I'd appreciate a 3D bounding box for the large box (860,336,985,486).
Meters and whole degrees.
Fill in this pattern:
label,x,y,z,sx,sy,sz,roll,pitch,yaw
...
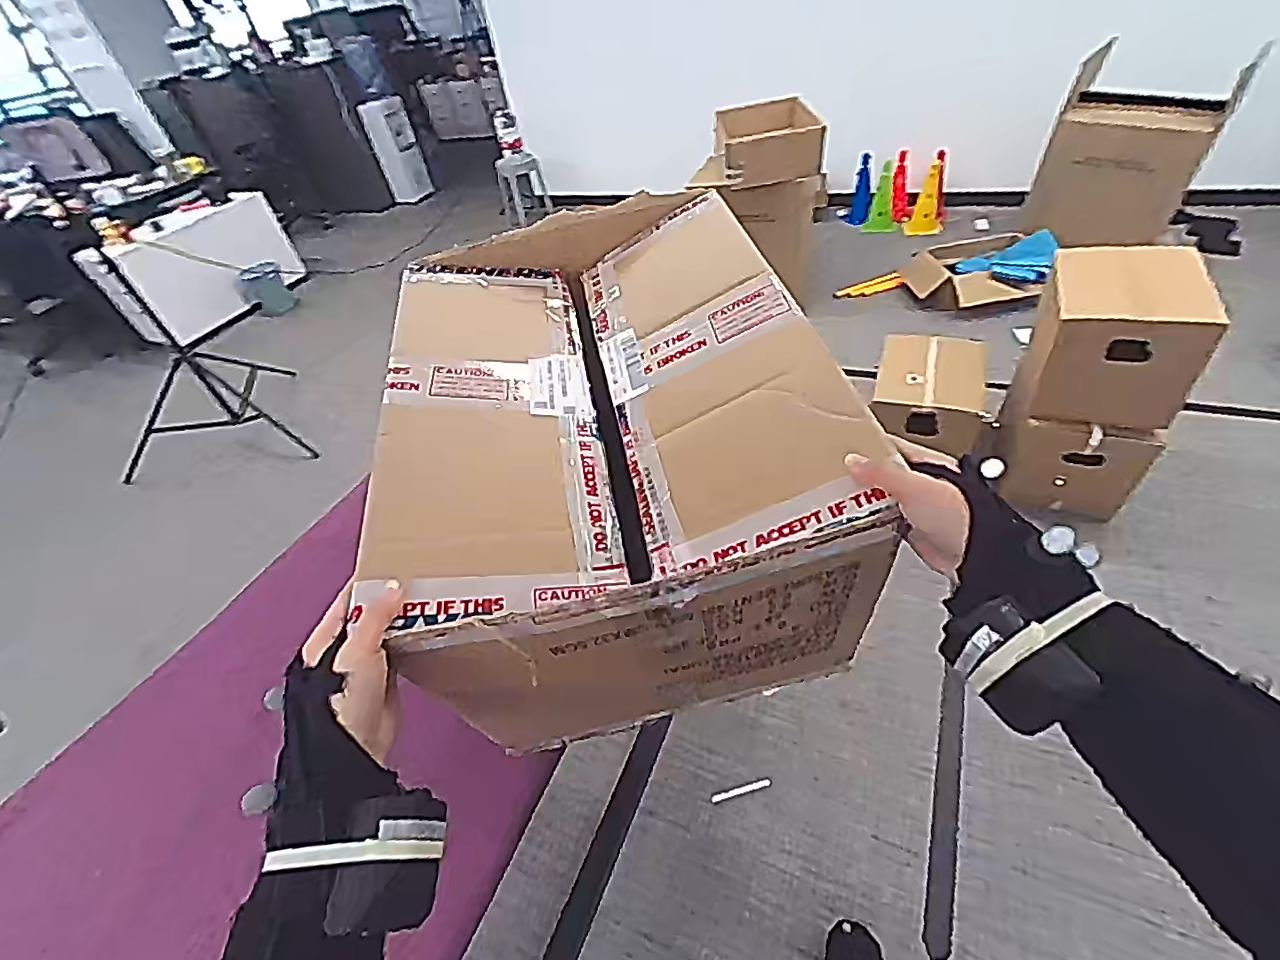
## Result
label,x,y,z,sx,sy,sz,roll,pitch,yaw
large box,0.956,-0.244,1.851,0.320,0.320,0.408,10,49,22
